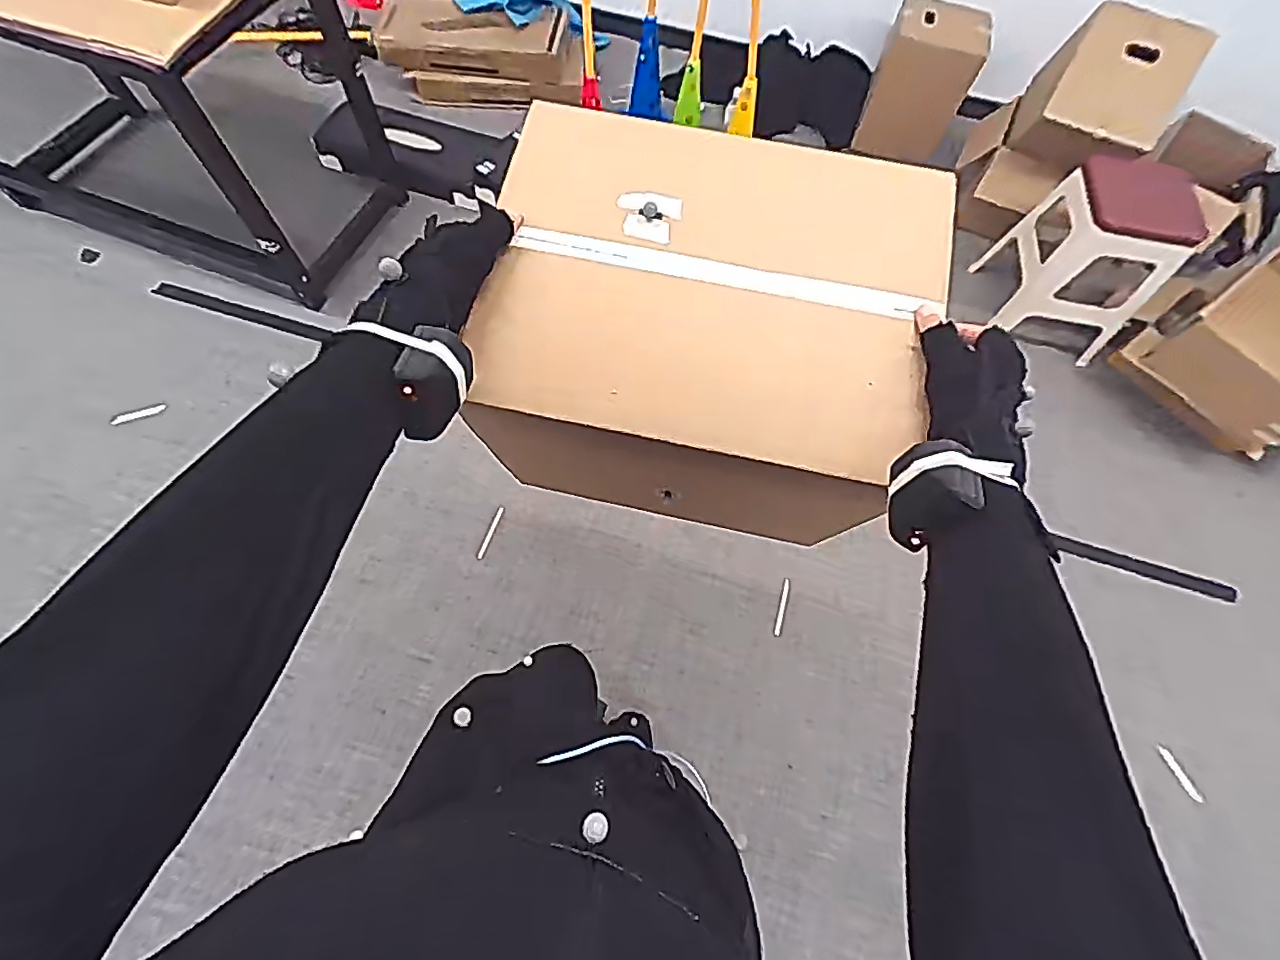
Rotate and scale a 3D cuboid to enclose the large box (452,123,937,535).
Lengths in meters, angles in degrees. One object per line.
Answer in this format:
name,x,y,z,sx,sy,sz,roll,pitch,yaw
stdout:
large box,0.064,-0.139,0.636,0.408,0.320,0.320,12,75,4
